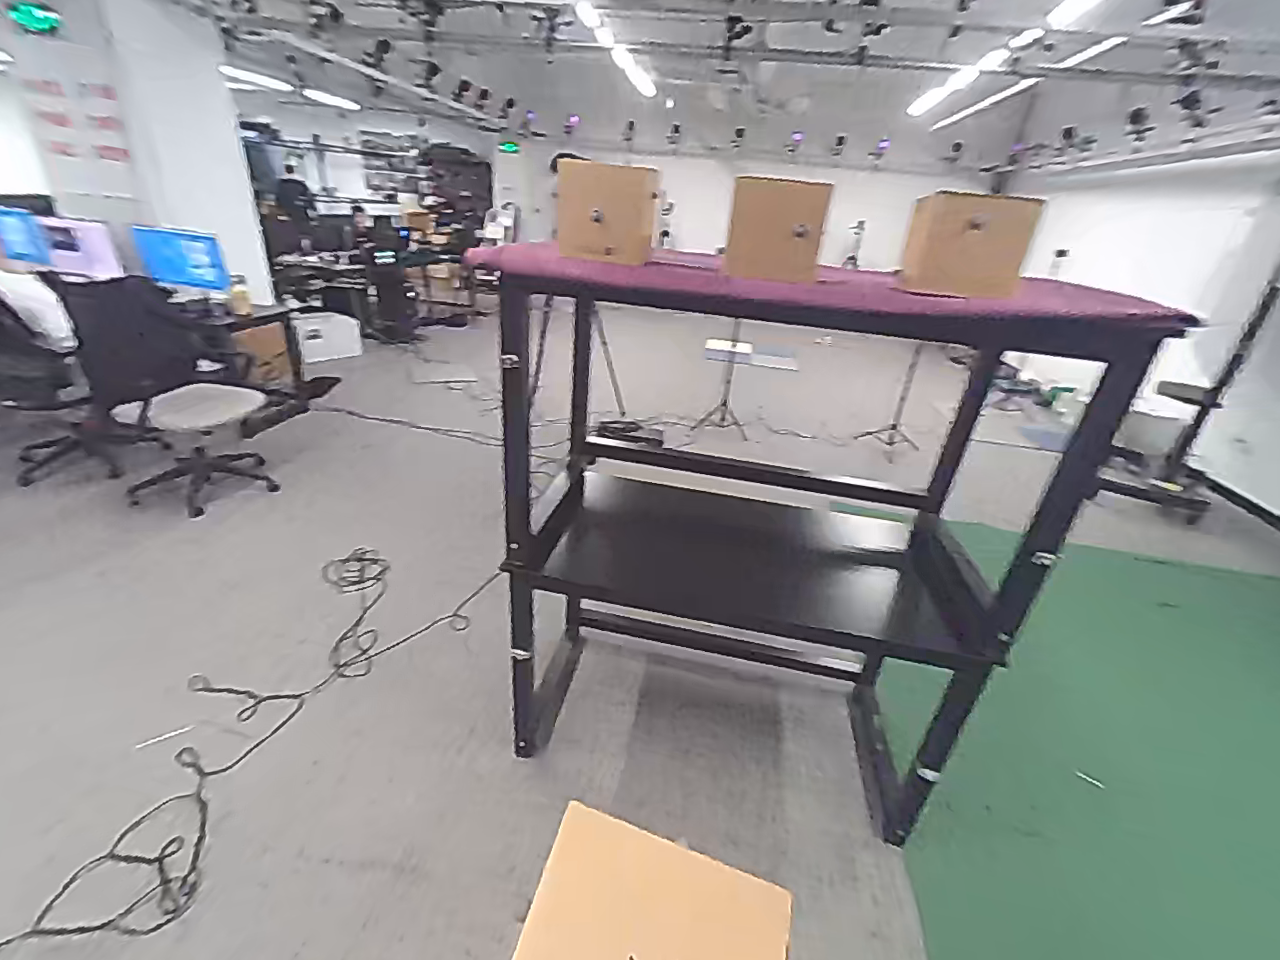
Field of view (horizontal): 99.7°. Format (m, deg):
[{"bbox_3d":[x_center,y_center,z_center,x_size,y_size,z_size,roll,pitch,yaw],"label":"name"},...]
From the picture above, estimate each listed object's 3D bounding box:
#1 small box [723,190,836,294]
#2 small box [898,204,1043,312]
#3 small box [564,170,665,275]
[{"bbox_3d":[0.265,-0.462,1.057,0.179,0.176,0.168,8,25,7],"label":"small box"},{"bbox_3d":[0.611,-0.418,1.031,0.179,0.176,0.168,10,24,9],"label":"small box"},{"bbox_3d":[-0.050,-0.515,1.090,0.168,0.176,0.179,10,26,6],"label":"small box"}]
